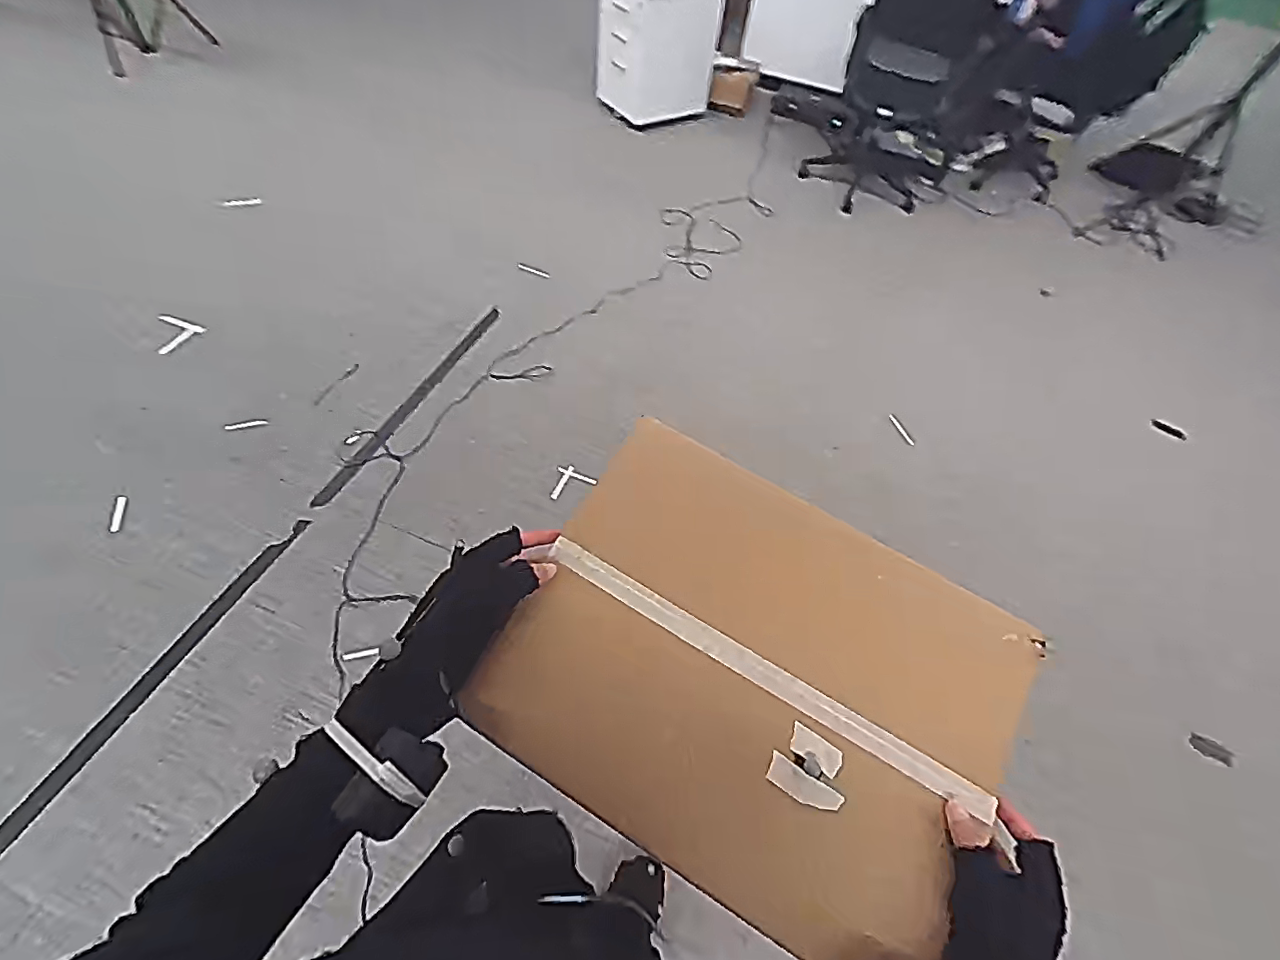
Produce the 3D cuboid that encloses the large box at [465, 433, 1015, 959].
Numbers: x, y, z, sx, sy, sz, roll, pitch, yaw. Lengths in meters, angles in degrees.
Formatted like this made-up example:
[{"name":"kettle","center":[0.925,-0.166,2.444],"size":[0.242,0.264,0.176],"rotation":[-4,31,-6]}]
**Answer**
[{"name":"large box","center":[0.090,0.217,0.607],"size":[0.408,0.320,0.320],"rotation":[29,71,9]}]
